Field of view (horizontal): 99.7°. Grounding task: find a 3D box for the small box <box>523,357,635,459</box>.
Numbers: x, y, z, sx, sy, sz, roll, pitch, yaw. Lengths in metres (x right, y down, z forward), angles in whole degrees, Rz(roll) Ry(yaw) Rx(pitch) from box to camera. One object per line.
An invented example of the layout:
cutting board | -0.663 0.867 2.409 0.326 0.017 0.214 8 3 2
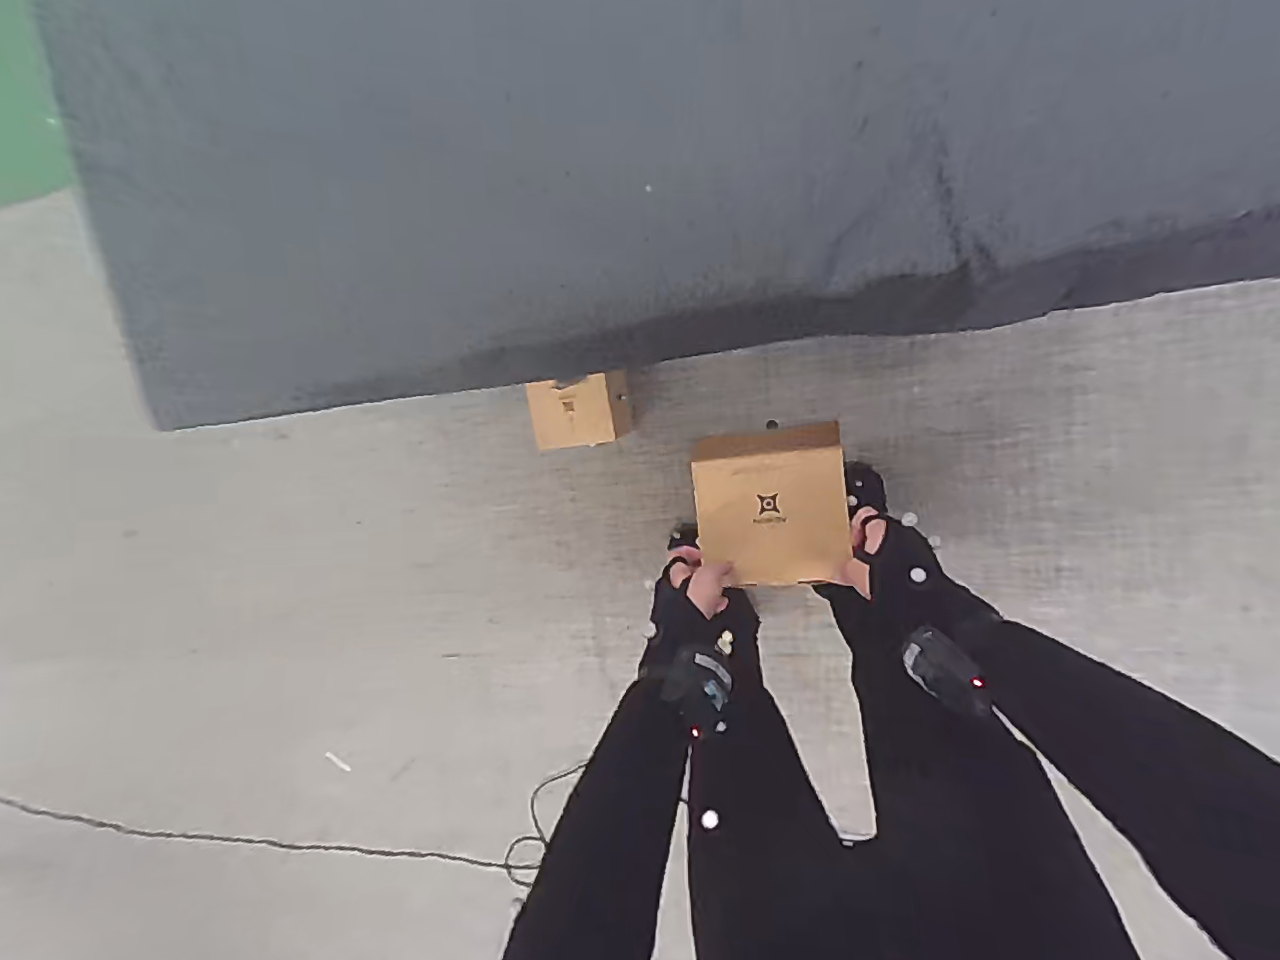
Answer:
small box | -0.118 -0.149 1.109 0.168 0.176 0.179 -8 100 15
